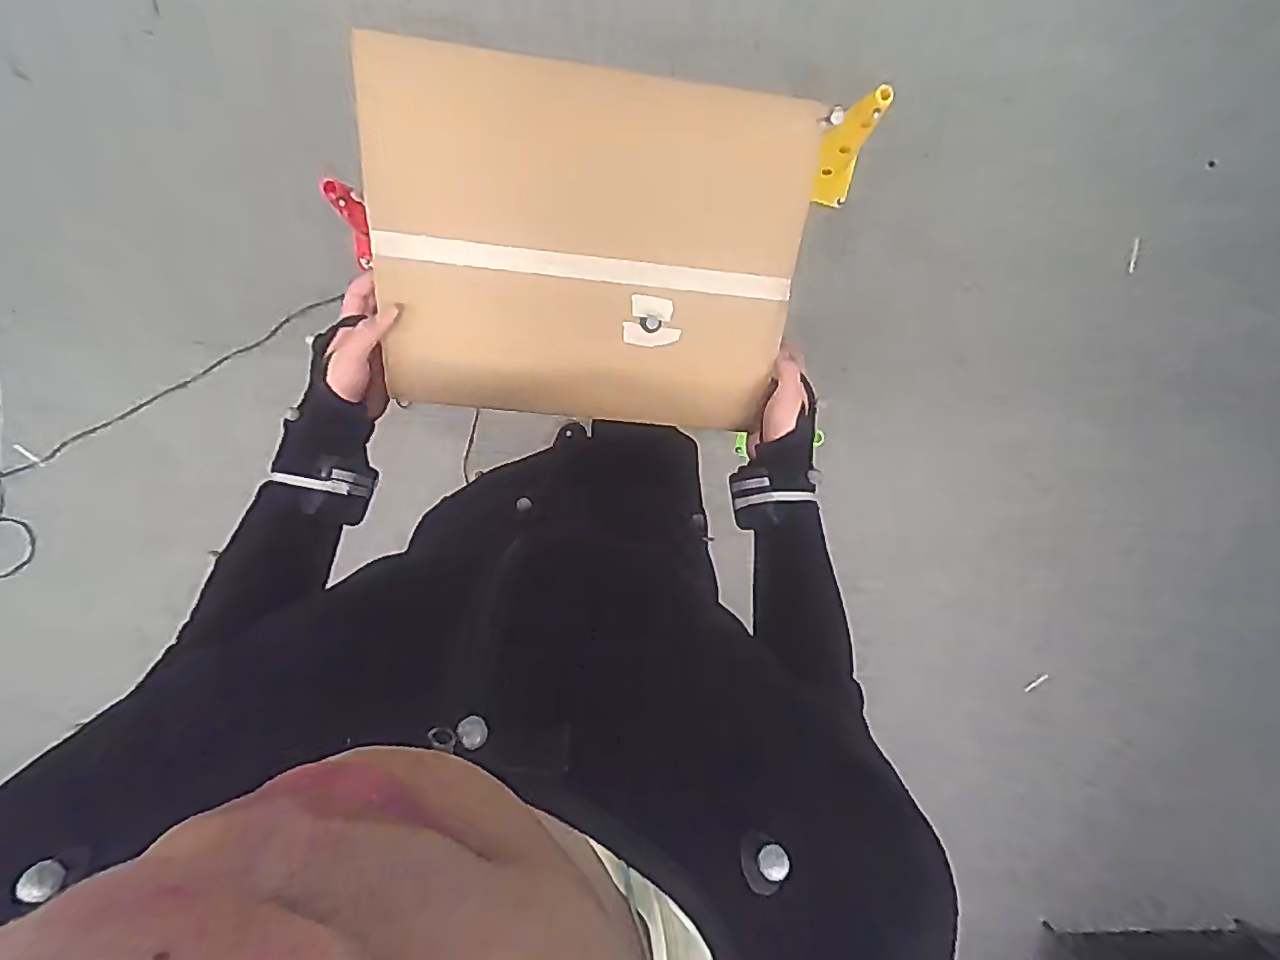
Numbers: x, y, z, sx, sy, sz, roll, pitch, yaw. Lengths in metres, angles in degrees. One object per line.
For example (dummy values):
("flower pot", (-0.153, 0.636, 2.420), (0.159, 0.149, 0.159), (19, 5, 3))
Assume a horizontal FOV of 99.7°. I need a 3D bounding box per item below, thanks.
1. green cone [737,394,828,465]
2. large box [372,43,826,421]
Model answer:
("green cone", (0.418, -0.130, 1.469), (0.200, 0.368, 0.202), (9, 98, -6))
("large box", (-0.053, -0.280, 0.665), (0.408, 0.320, 0.320), (4, 117, -6))
